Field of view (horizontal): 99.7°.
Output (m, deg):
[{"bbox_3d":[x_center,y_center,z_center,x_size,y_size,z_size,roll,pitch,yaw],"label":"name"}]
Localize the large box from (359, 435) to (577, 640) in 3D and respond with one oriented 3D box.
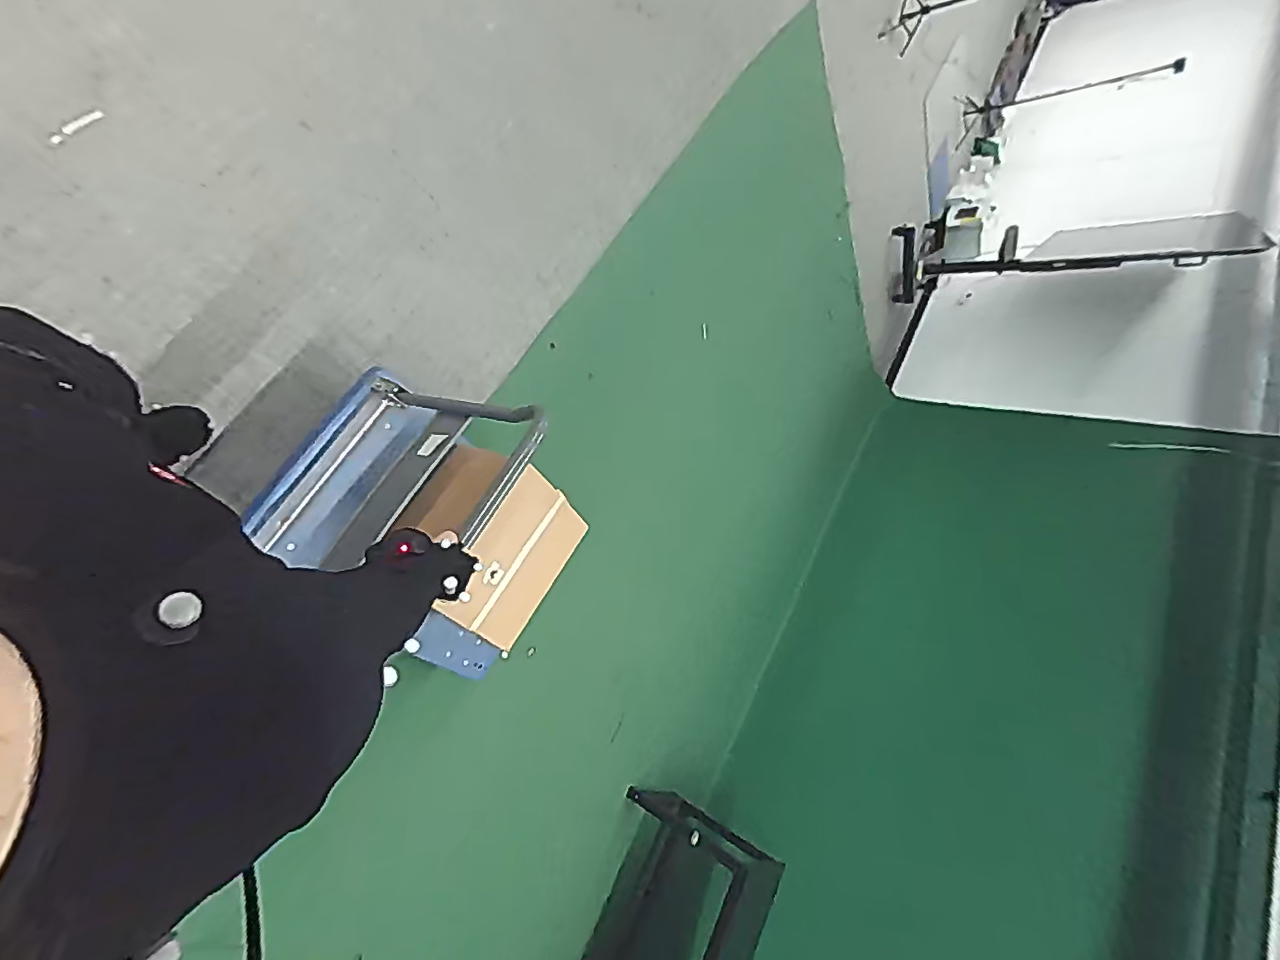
[{"bbox_3d":[-0.448,0.142,1.455,0.408,0.320,0.320,-58,138,-21],"label":"large box"}]
